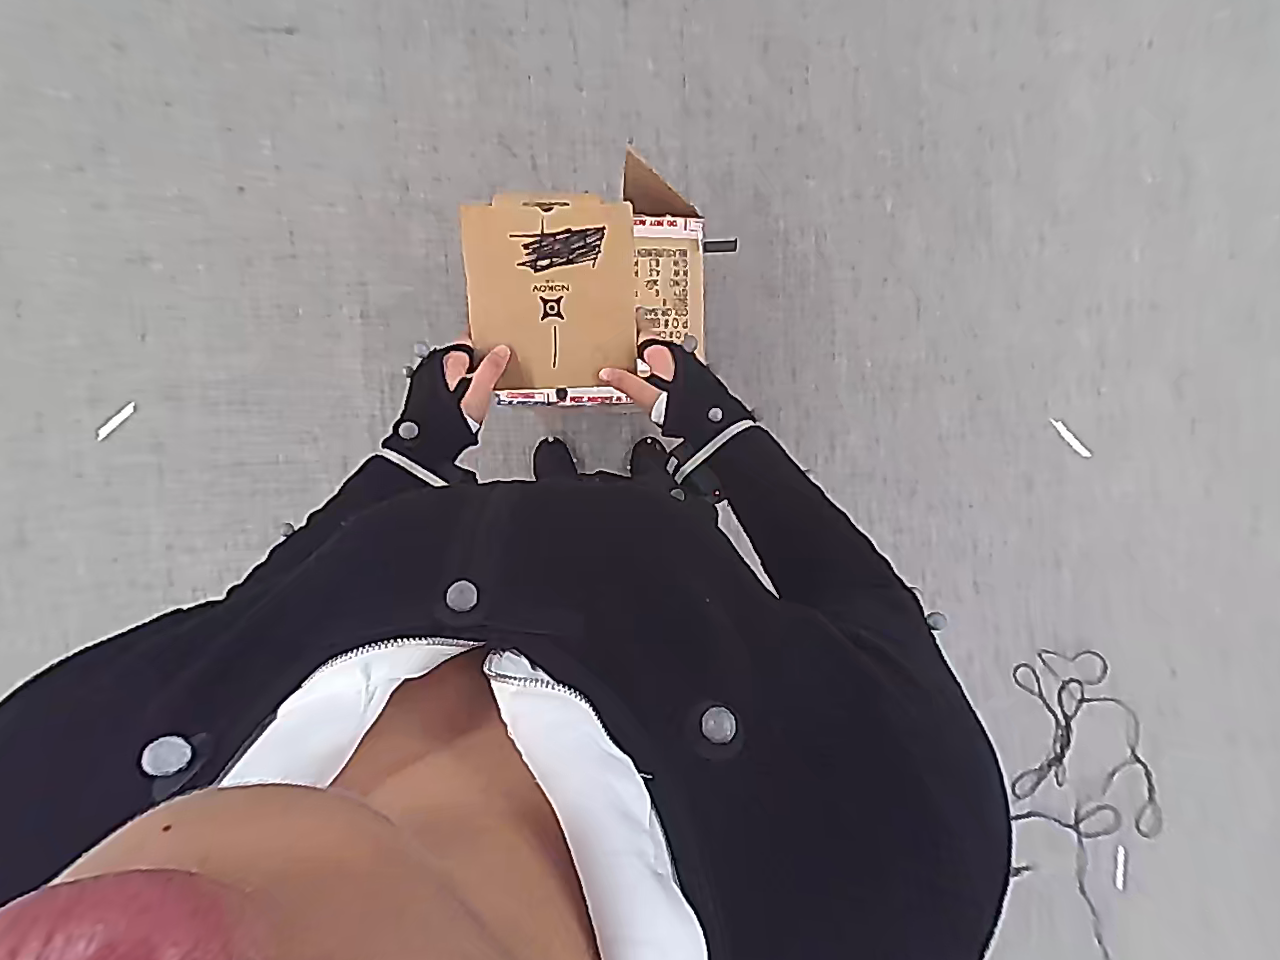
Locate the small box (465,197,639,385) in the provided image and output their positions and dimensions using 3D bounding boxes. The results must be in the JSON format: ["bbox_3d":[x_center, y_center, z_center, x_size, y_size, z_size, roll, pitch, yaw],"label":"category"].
[{"bbox_3d":[-0.089,-0.199,0.610,0.168,0.176,0.179,-2,103,-3],"label":"small box"}]
